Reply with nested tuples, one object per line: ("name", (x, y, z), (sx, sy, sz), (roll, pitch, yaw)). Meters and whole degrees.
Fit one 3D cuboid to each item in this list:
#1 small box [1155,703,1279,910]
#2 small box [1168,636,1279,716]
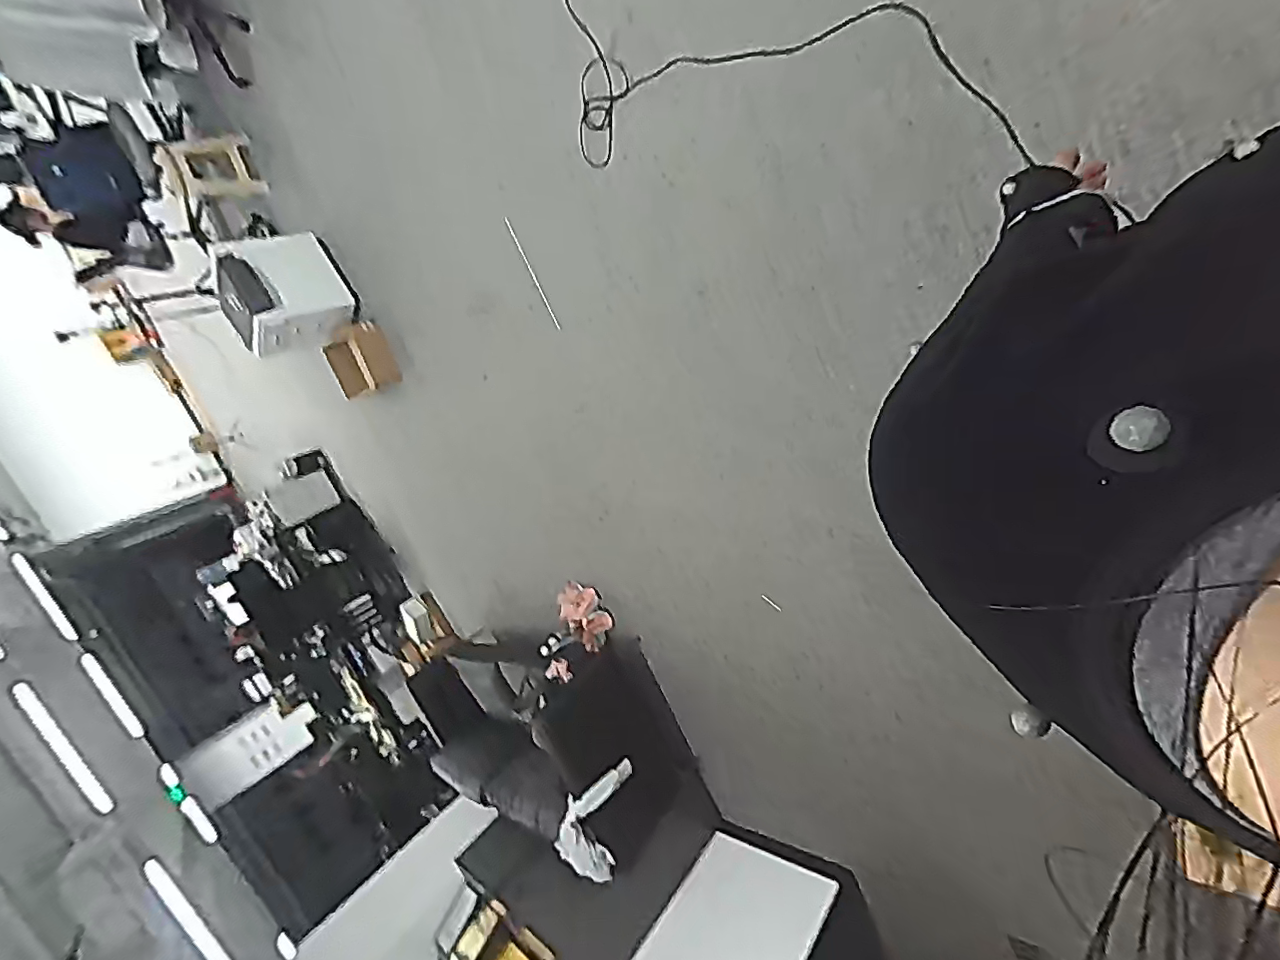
("small box", (0.803, 0.418, 0.699), (0.179, 0.176, 0.168), (-7, 108, 48))
("small box", (0.913, 0.350, 0.799), (0.179, 0.176, 0.168), (-9, 105, 47))
